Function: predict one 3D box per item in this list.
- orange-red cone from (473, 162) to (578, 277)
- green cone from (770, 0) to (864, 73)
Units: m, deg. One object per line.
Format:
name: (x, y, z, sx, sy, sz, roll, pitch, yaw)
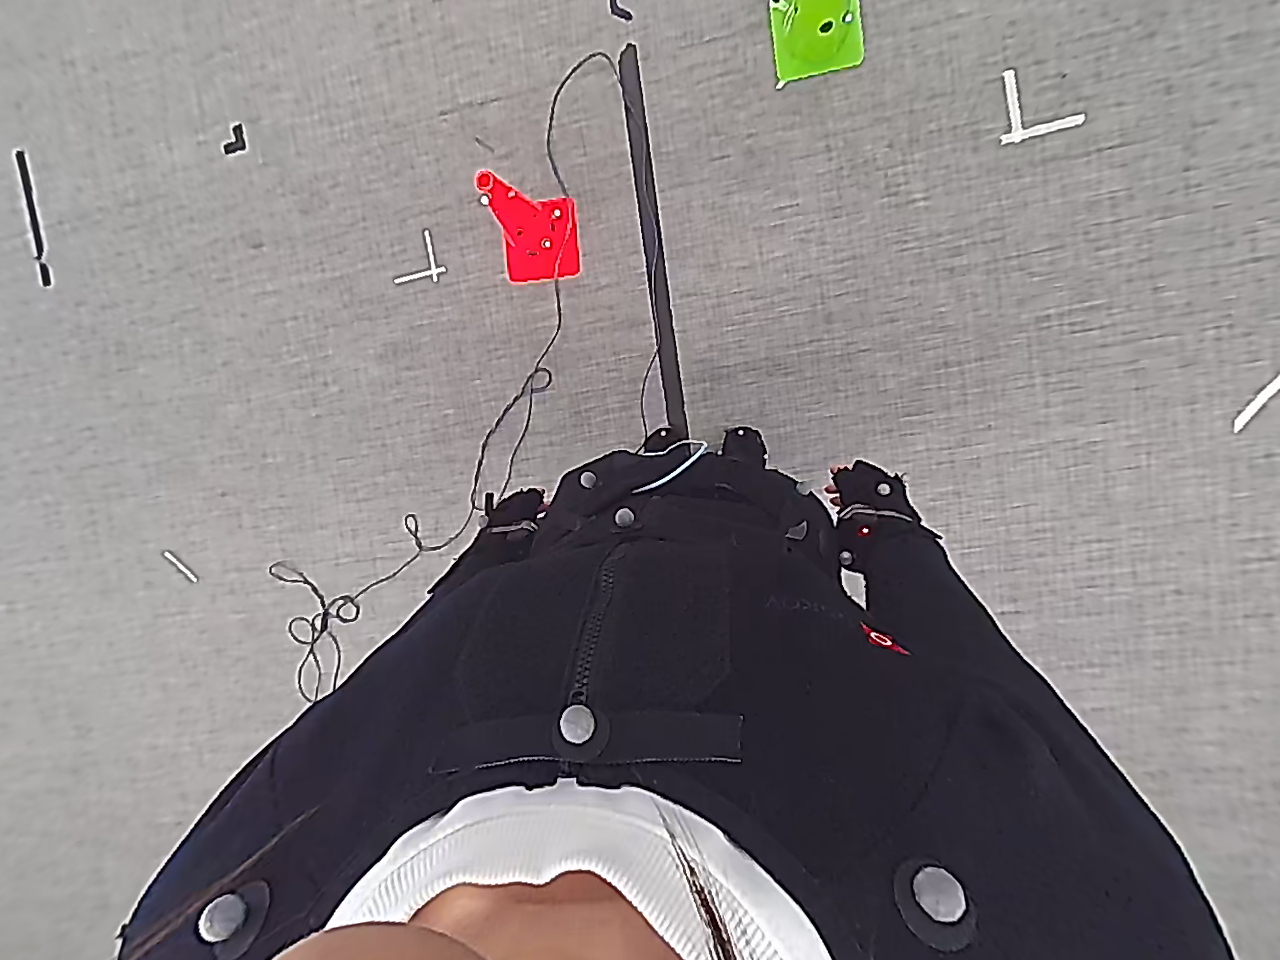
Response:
orange-red cone: (-0.287, -0.620, 1.237, 0.199, 0.360, 0.198, -3, 94, 10)
green cone: (0.389, -1.049, 1.088, 0.202, 0.368, 0.200, -8, 95, 8)
